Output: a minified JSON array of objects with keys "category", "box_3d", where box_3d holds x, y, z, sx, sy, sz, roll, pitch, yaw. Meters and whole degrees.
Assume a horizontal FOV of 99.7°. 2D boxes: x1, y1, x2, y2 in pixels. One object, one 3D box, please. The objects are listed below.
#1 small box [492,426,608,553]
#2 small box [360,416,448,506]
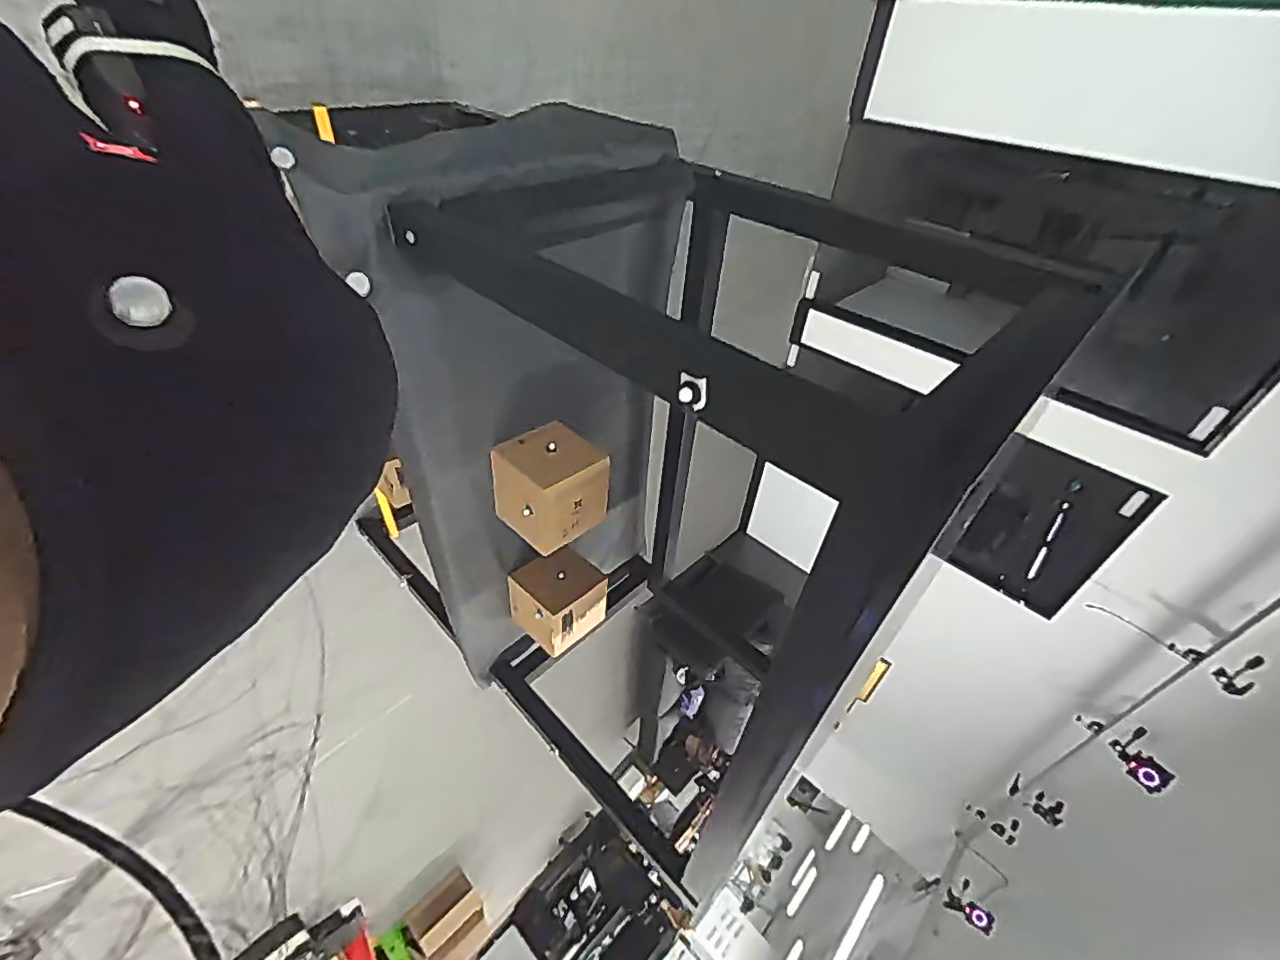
[{"category":"small box","box_3d":[-0.185,0.008,1.099,0.168,0.176,0.179,-30,141,-37]},{"category":"small box","box_3d":[-0.685,-0.061,1.565,0.179,0.176,0.168,-29,142,-38]}]
